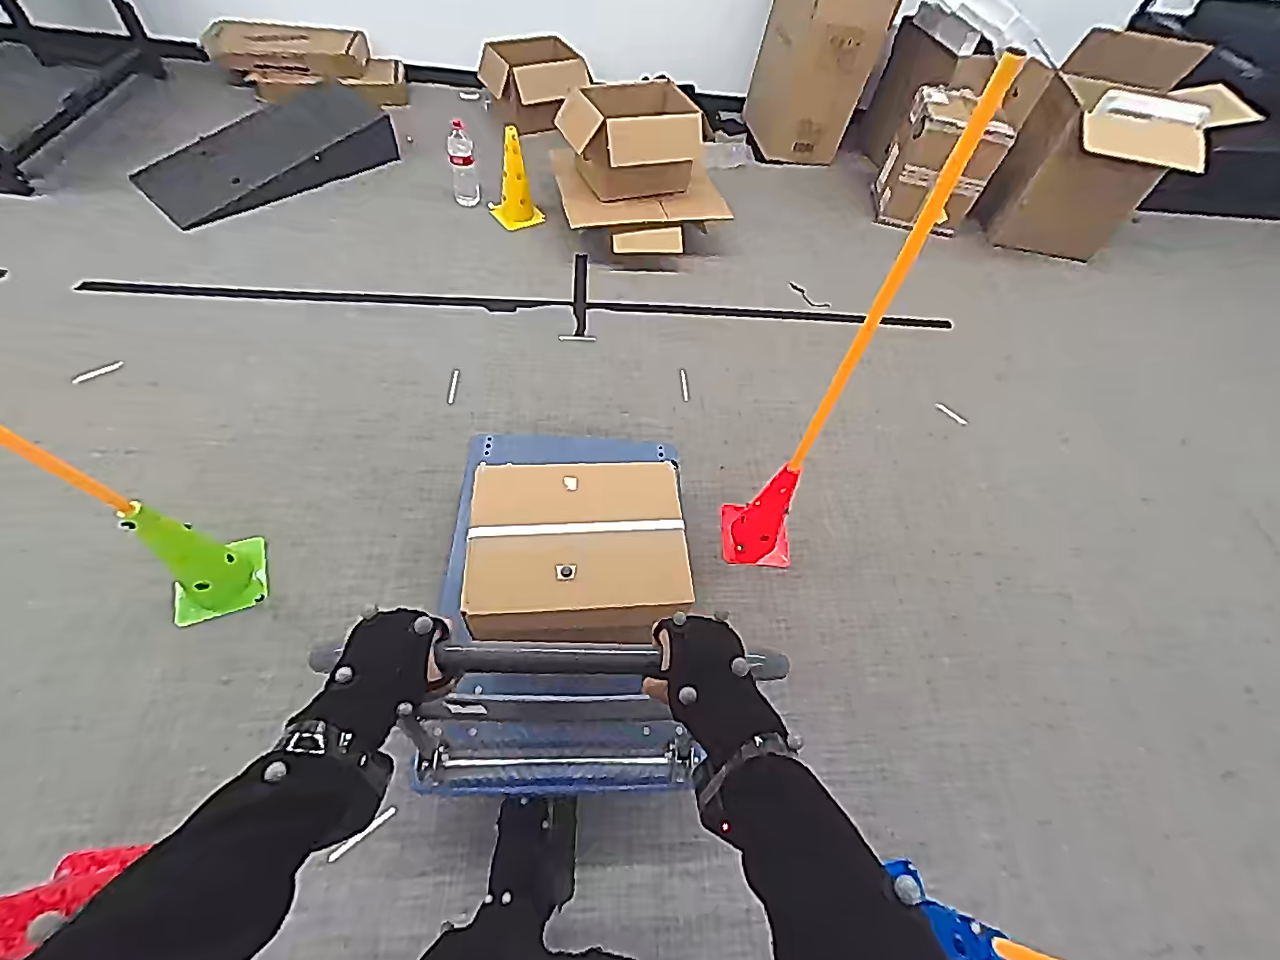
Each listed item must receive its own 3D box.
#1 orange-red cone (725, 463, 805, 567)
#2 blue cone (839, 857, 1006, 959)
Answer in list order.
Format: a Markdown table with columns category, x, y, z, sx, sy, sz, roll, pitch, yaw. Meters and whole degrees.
| category | x | y | z | sx | sy | sz | roll | pitch | yaw |
| --- | --- | --- | --- | --- | --- | --- | --- | --- | --- |
| orange-red cone | 0.372 | 0.069 | 1.476 | 0.199 | 0.360 | 0.198 | 7 | 56 | -4 |
| blue cone | 0.546 | 0.827 | 1.003 | 0.193 | 0.380 | 0.192 | -2 | 55 | -9 |
